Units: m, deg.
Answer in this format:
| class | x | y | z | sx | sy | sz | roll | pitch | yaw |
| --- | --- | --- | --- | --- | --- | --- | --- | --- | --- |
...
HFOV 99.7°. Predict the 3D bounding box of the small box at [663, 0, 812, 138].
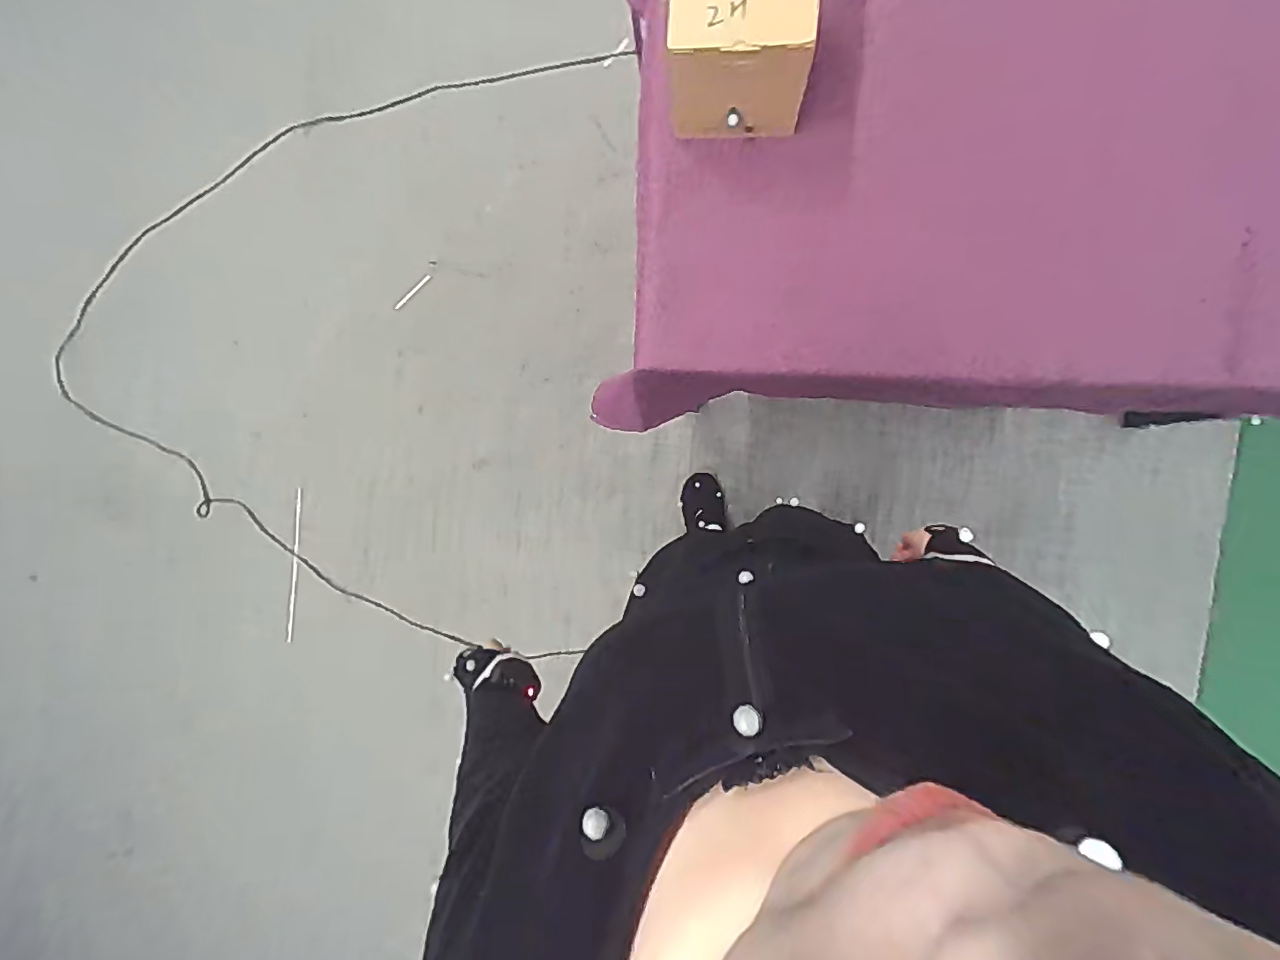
| class | x | y | z | sx | sy | sz | roll | pitch | yaw |
| --- | --- | --- | --- | --- | --- | --- | --- | --- | --- |
| small box | 0.121 | -0.570 | 0.683 | 0.168 | 0.176 | 0.179 | 3 | 92 | 8 |
